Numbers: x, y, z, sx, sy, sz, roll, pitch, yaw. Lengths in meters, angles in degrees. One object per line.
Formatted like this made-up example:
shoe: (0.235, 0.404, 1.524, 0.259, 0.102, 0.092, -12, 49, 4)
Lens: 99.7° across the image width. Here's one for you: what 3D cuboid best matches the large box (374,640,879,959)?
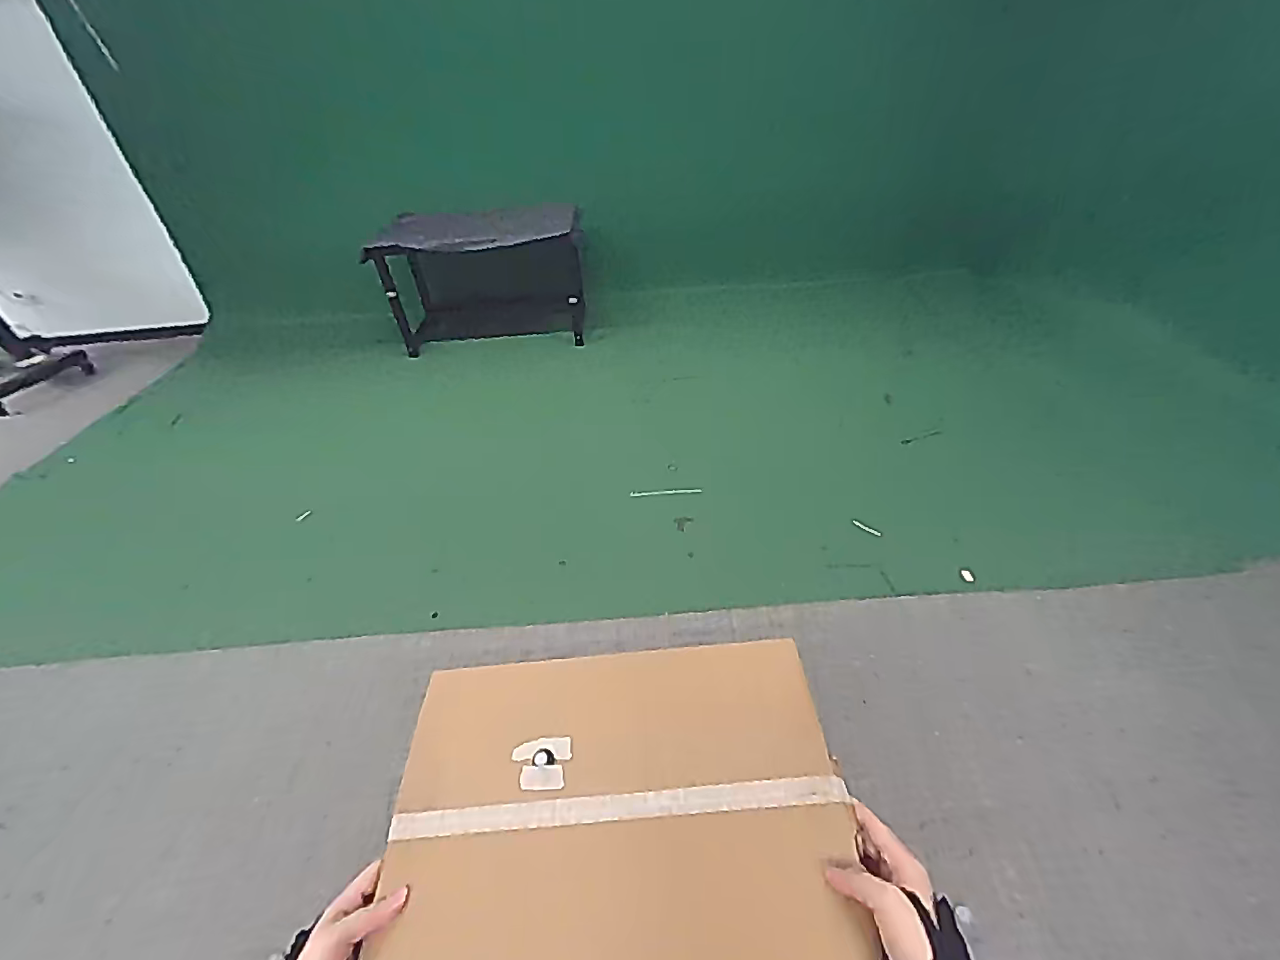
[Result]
large box: (-0.004, 0.415, 0.596, 0.408, 0.320, 0.320, -8, 41, 3)
